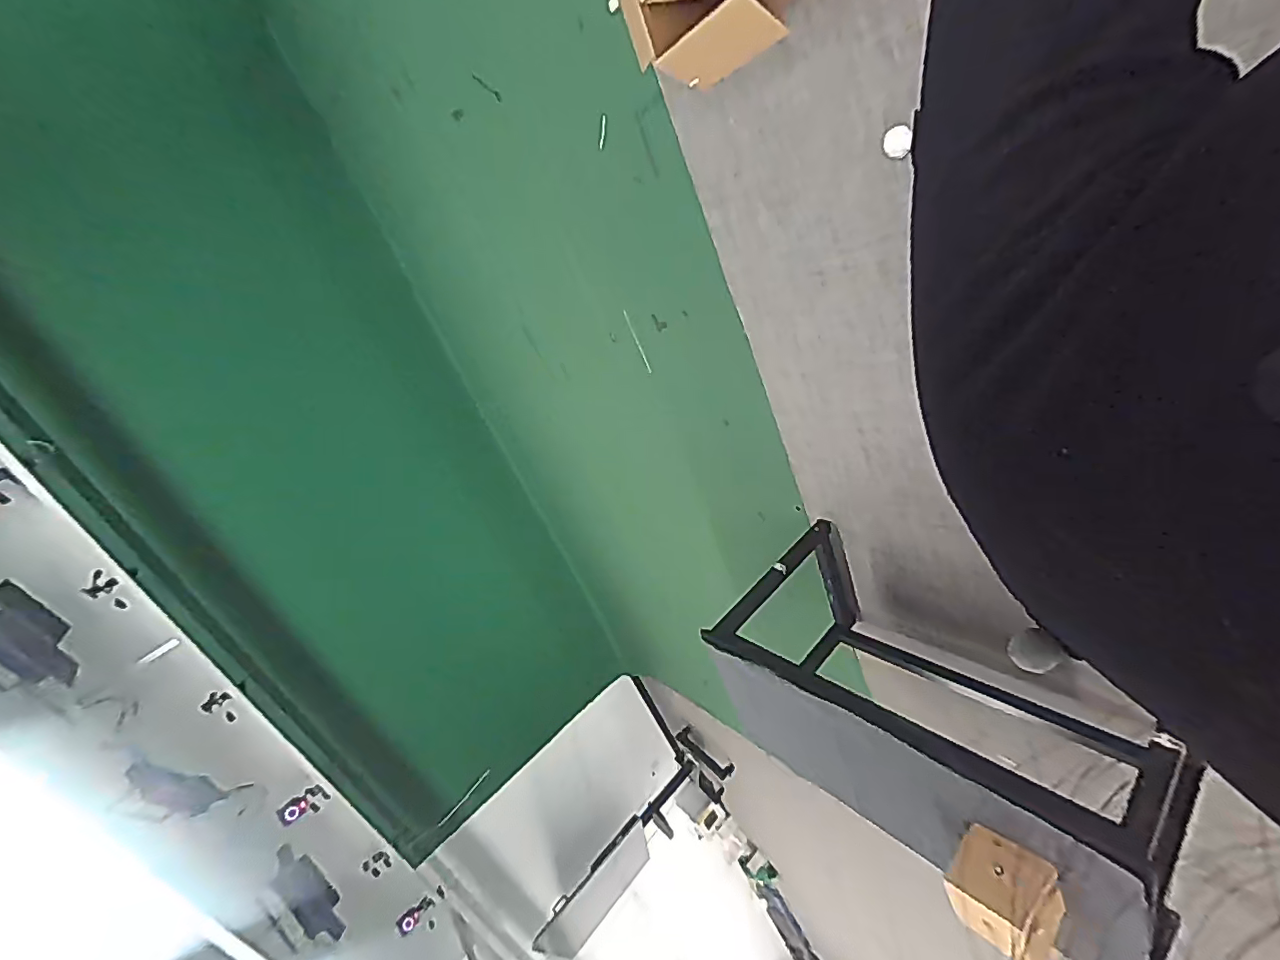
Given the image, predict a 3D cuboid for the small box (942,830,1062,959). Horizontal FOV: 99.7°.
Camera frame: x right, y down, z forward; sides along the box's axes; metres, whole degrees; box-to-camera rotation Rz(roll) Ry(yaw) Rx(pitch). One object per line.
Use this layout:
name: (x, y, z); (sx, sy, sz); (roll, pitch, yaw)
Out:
small box: (0.826, 0.955, 1.232); (0.168, 0.176, 0.179); (7, 128, 57)
